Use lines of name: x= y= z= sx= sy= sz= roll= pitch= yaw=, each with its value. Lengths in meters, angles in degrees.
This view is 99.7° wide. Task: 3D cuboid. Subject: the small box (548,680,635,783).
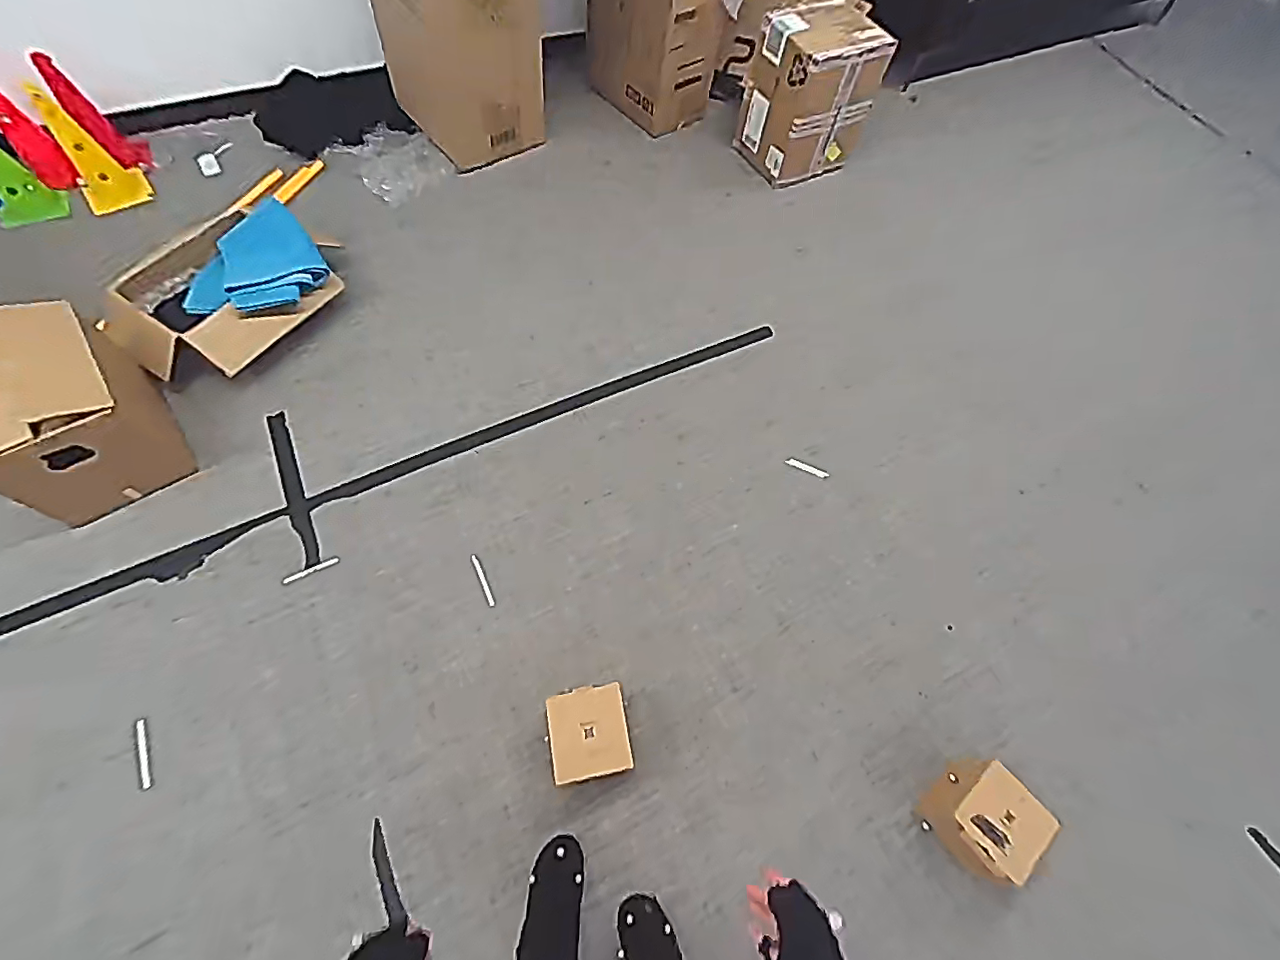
small box: x=-0.112 y=0.569 z=1.222 sx=0.168 sy=0.176 sz=0.179 roll=-9 pitch=65 yaw=-8

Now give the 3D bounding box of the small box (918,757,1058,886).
small box: x=0.760 y=0.751 z=1.206 sx=0.179 sy=0.176 sz=0.168 roll=-34 pitch=70 yaw=-21
